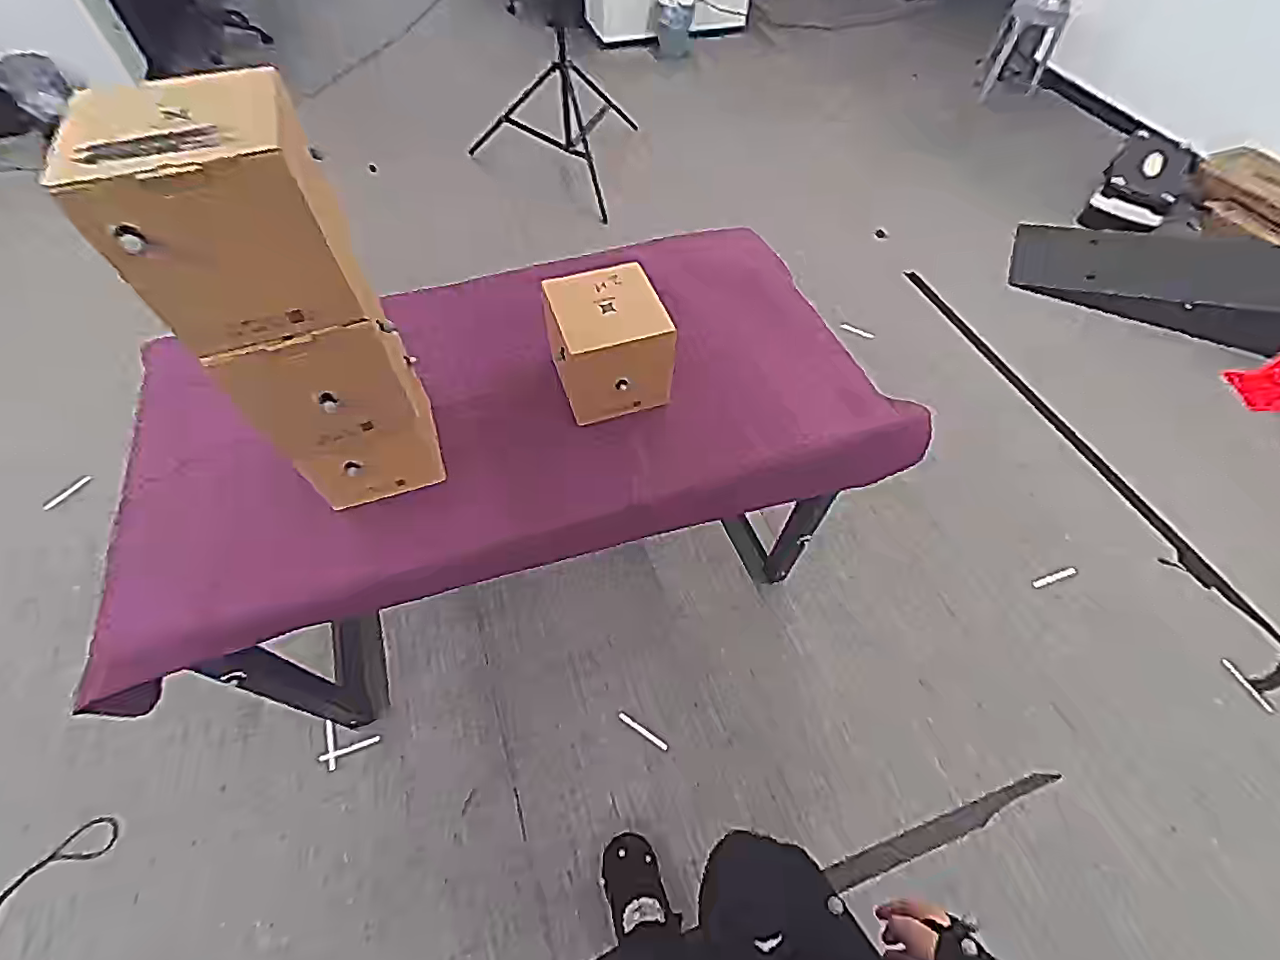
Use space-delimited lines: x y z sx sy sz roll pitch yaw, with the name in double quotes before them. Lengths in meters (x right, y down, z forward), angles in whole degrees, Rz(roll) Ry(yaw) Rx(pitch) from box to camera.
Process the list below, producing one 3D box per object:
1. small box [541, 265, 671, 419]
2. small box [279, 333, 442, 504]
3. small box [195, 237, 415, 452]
"small box" -0.056 -0.221 0.900 0.168 0.176 0.179 -16 59 -12
"small box" -0.408 -0.082 0.804 0.168 0.176 0.179 -17 59 -12
"small box" -0.393 -0.155 0.656 0.168 0.176 0.179 -21 60 -15
